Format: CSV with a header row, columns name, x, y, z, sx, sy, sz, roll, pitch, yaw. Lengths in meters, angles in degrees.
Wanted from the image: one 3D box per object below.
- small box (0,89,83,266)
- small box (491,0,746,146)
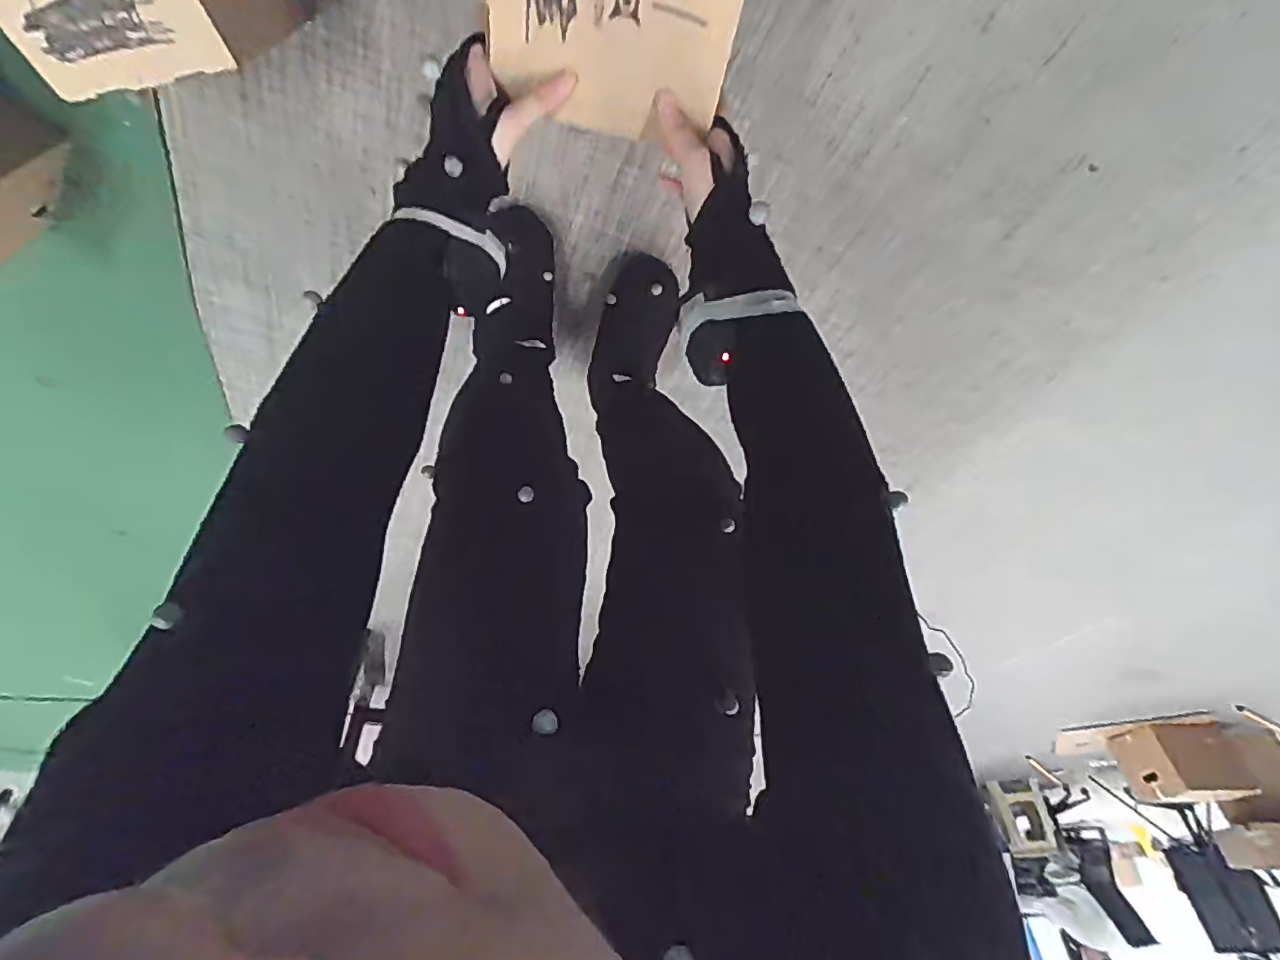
name,x,y,z,sx,sy,sz,roll,pitch,yaw
small box,-0.765,-0.339,0.571,0.168,0.176,0.179,-31,132,31
small box,-0.014,-0.397,0.424,0.179,0.176,0.168,7,139,-9
